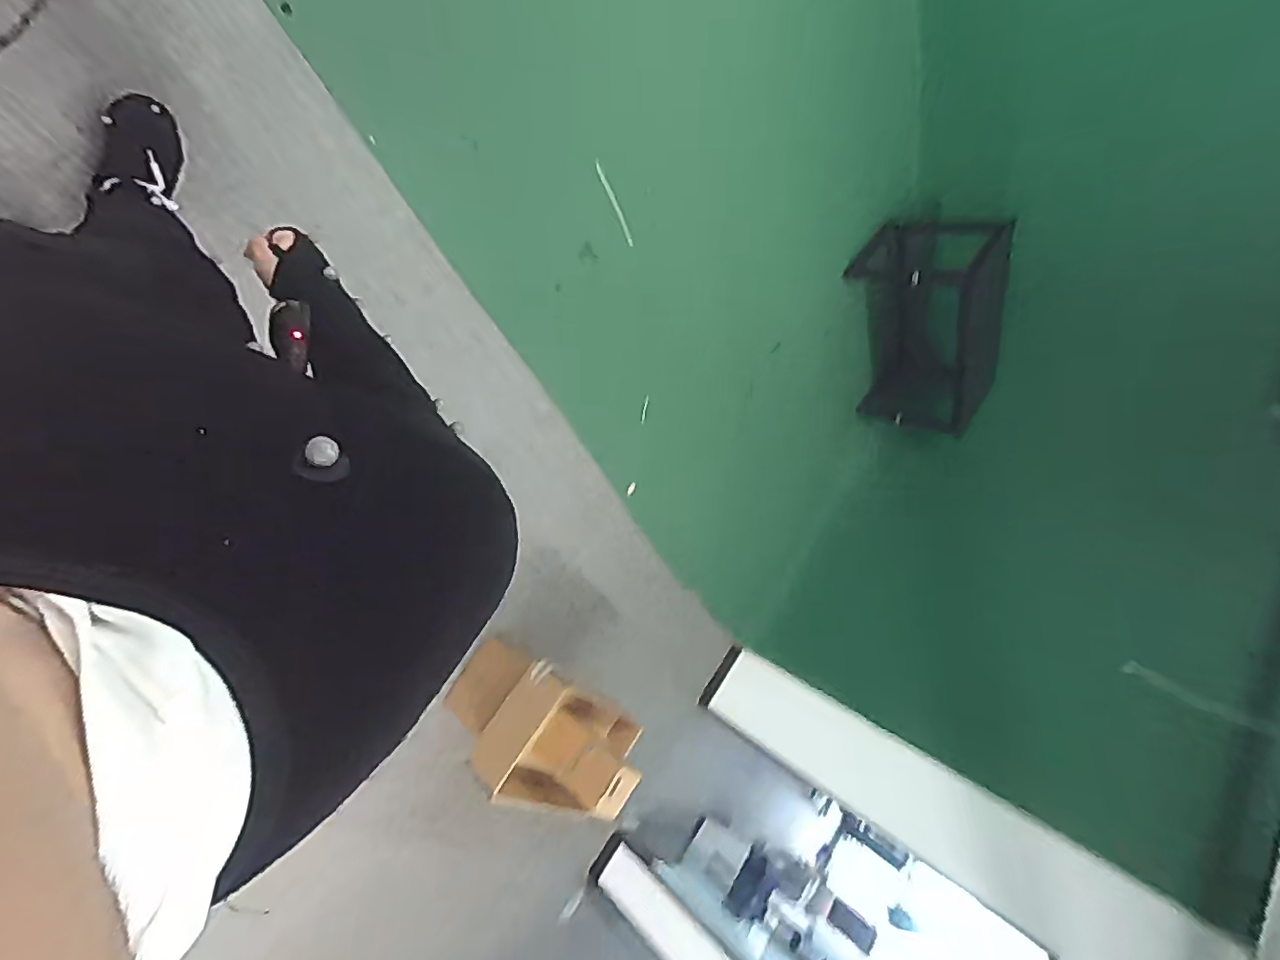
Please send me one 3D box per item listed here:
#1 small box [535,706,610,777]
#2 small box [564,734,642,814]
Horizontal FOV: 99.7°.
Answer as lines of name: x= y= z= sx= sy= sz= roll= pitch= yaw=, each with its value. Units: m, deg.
small box: x=-0.248 y=0.949 z=1.952 sx=0.179 sy=0.176 sz=0.168 roll=-54 pitch=140 yaw=-15
small box: x=-0.129 y=1.004 z=1.853 sx=0.168 sy=0.176 sz=0.179 roll=-52 pitch=140 yaw=-17
